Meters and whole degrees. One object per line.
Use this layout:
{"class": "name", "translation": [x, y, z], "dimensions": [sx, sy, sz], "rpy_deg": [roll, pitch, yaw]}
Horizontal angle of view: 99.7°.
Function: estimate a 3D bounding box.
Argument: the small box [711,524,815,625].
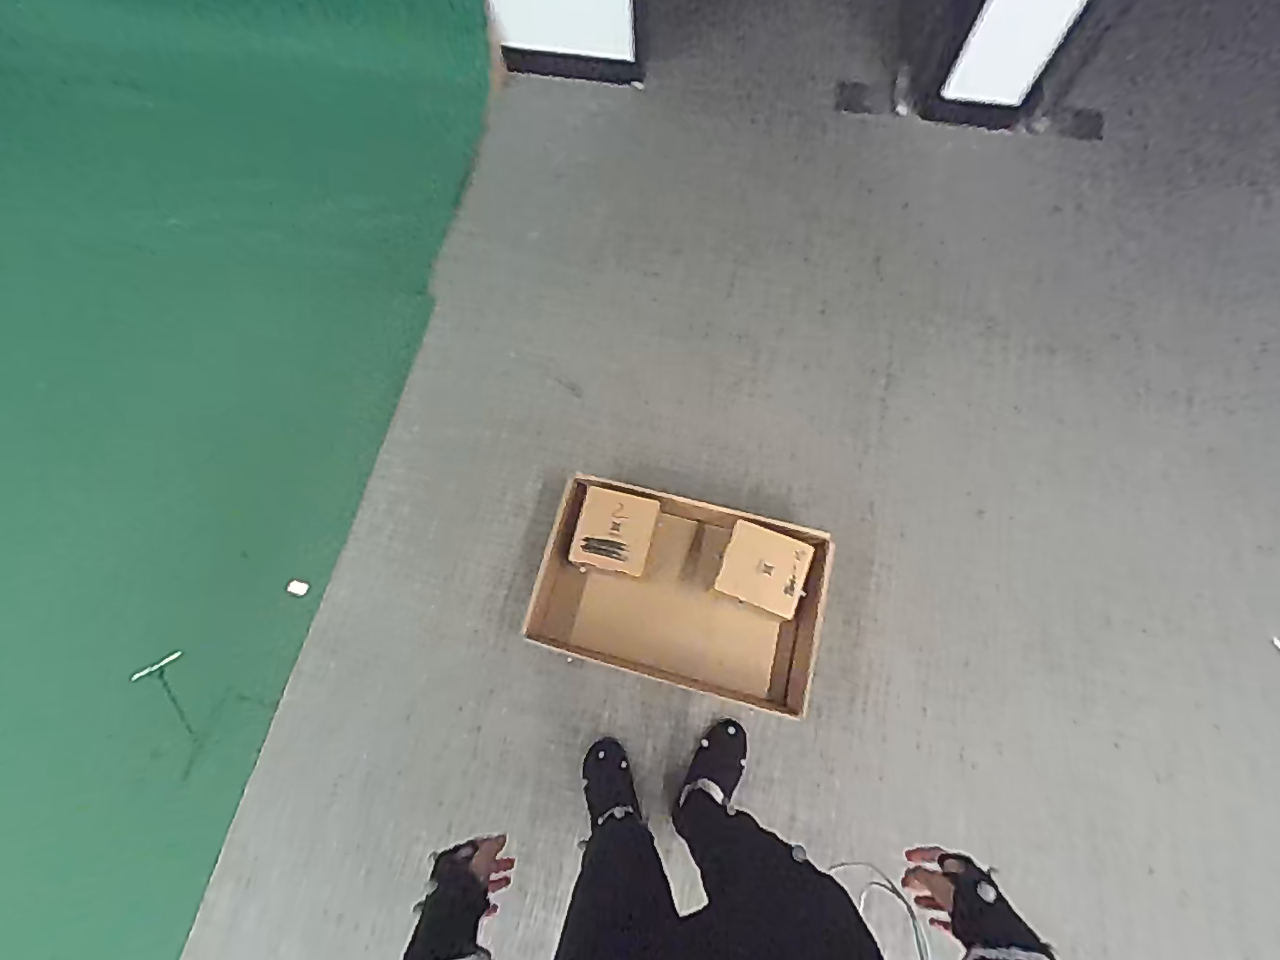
{"class": "small box", "translation": [0.268, 0.220, 1.221], "dimensions": [0.179, 0.176, 0.168], "rpy_deg": [22, 77, 11]}
